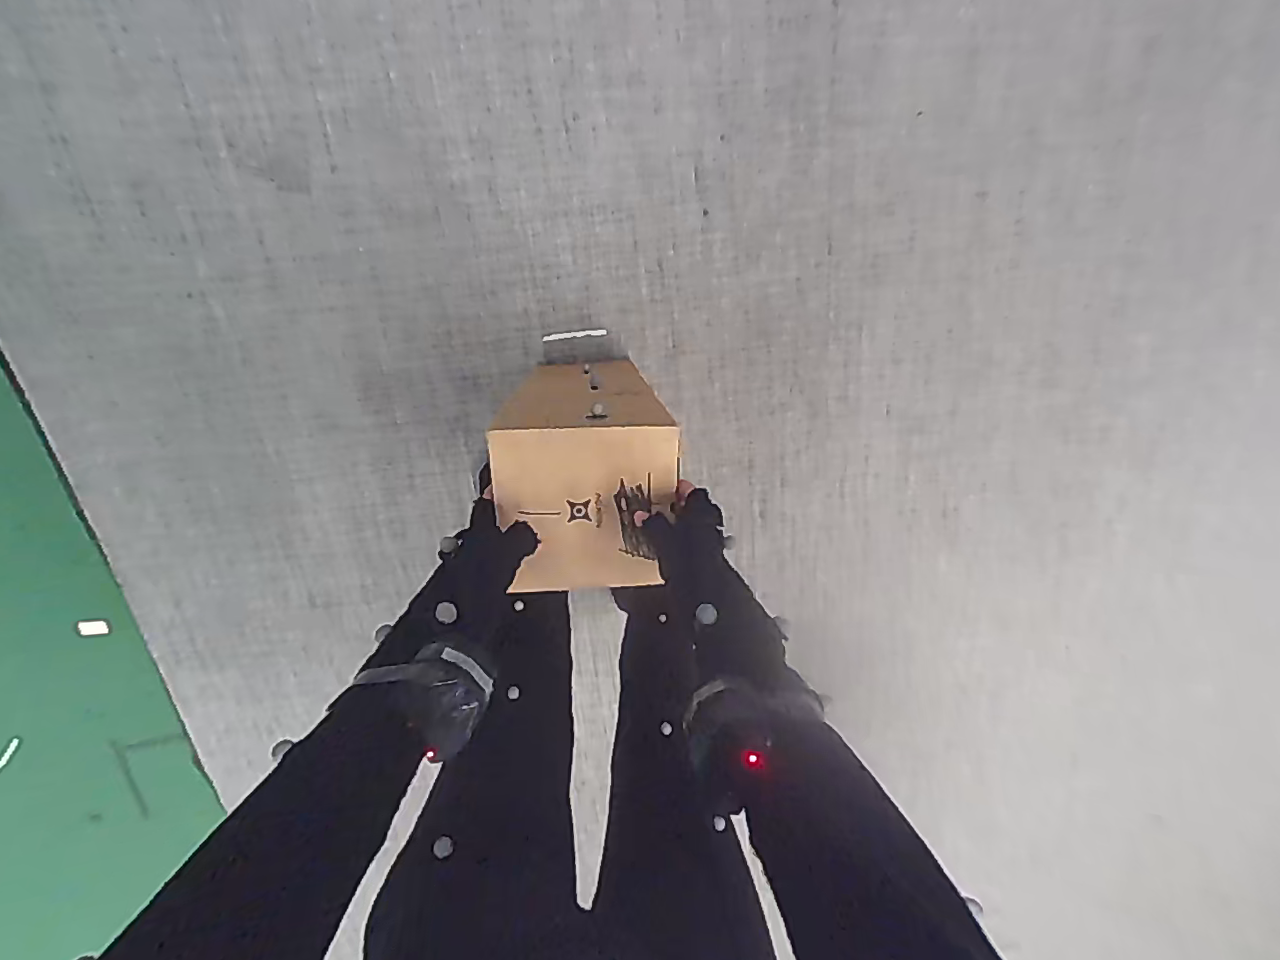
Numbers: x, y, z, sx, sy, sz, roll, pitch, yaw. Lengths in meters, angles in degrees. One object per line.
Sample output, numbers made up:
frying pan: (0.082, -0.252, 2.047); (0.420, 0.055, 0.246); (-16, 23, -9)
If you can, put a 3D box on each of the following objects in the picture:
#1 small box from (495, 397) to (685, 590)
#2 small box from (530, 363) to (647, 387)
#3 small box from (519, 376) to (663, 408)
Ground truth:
small box: (-0.054, 0.004, 0.592); (0.179, 0.176, 0.168); (-1, 109, -5)
small box: (-0.081, -0.100, 0.903); (0.179, 0.176, 0.168); (-5, 109, -4)
small box: (-0.068, -0.049, 0.748); (0.179, 0.176, 0.168); (-3, 109, -6)
